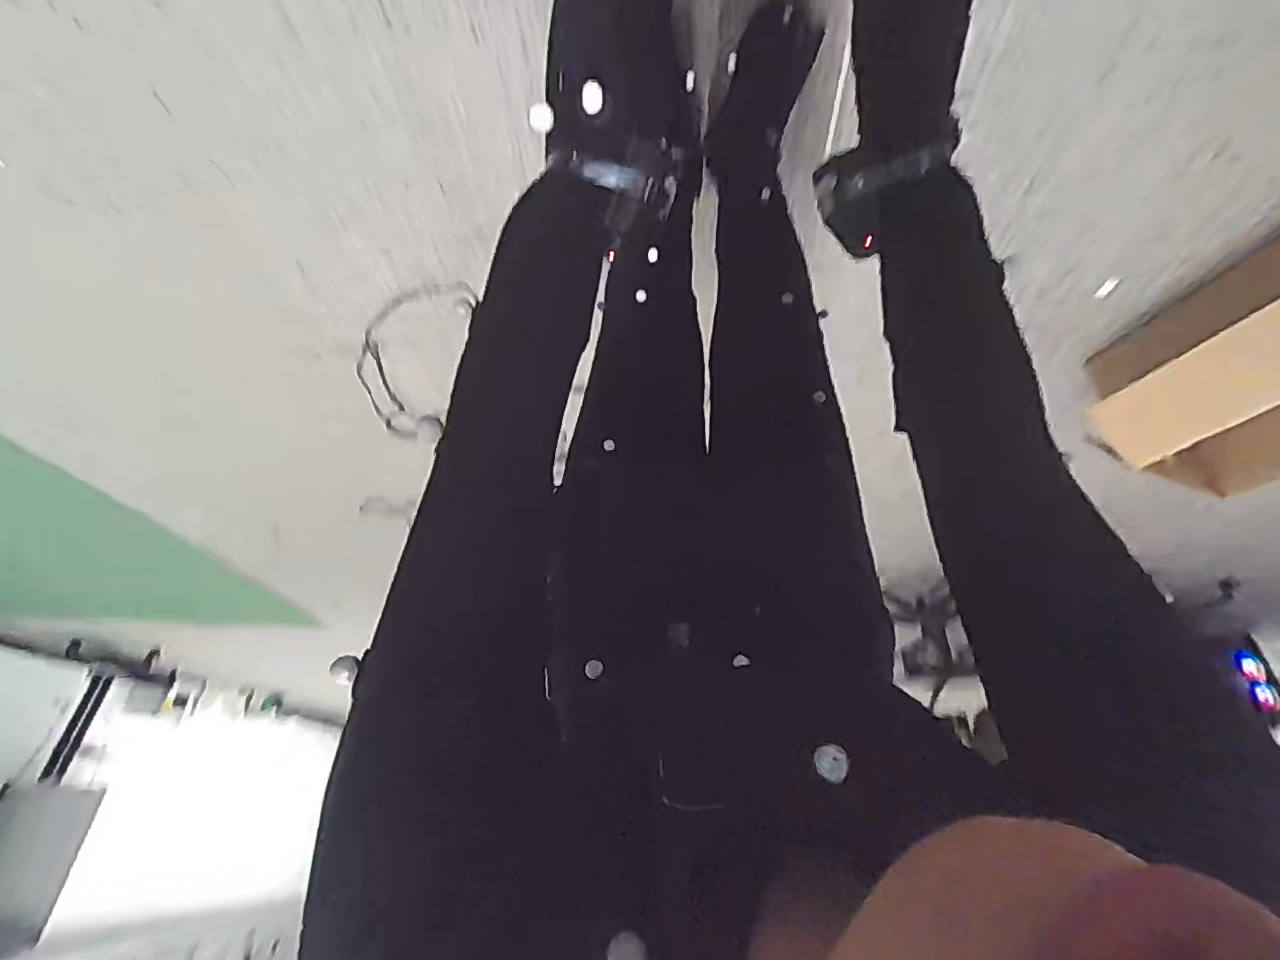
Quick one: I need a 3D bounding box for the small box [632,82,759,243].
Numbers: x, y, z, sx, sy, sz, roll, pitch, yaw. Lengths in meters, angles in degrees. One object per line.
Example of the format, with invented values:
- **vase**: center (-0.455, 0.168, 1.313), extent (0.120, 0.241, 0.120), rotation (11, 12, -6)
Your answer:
- **small box**: center (0.081, -0.528, 0.905), extent (0.168, 0.176, 0.179), rotation (-7, 149, -7)
